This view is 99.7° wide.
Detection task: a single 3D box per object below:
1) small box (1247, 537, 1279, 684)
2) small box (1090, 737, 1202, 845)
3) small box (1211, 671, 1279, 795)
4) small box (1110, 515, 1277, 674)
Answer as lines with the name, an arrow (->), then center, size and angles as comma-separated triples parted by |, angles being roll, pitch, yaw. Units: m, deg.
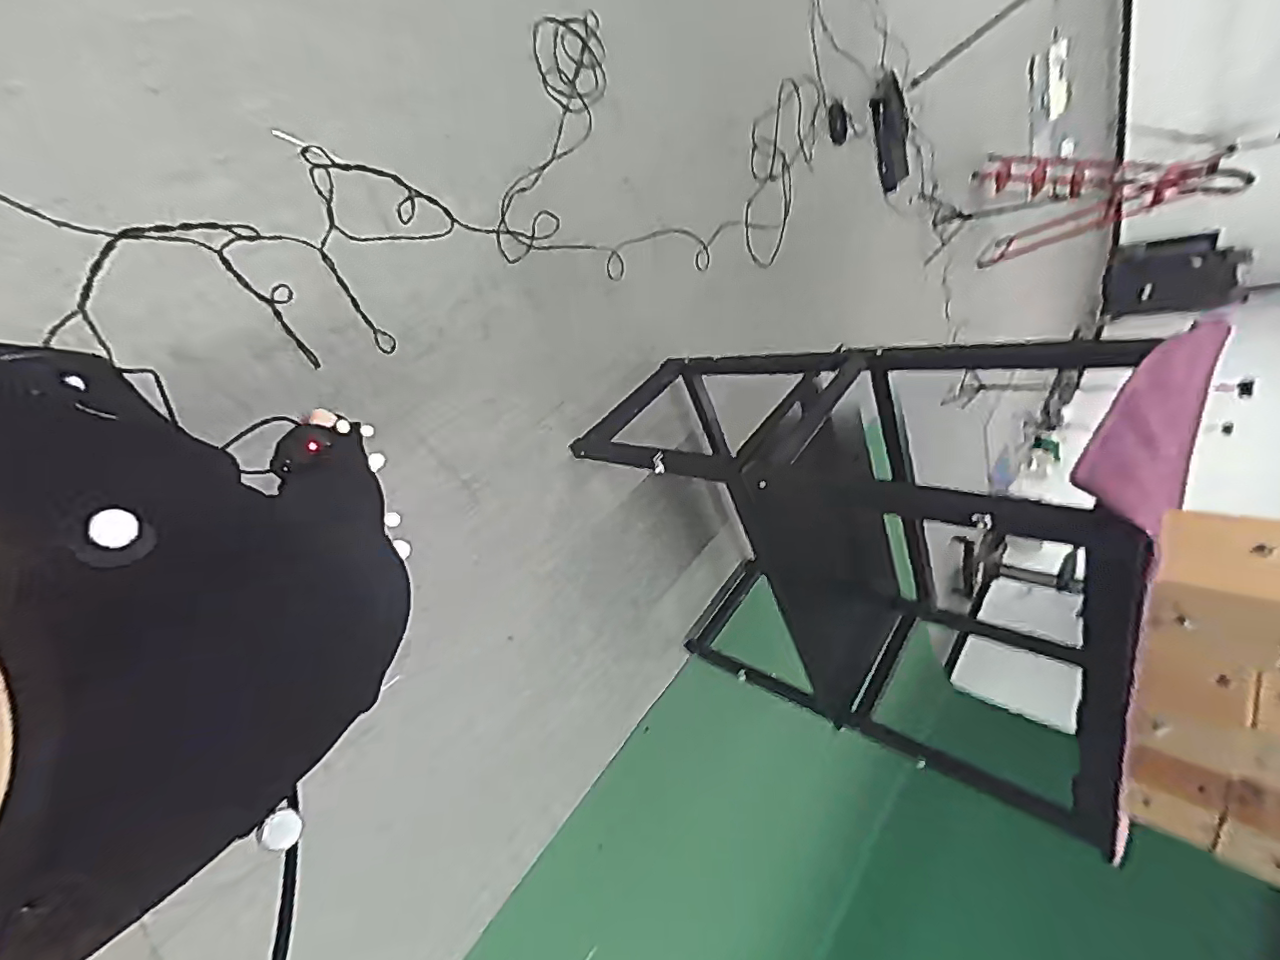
small box -> 1.031, 0.205, 0.792 | 0.179, 0.176, 0.168 | -44, 125, -29
small box -> 1.206, 0.707, 1.290 | 0.179, 0.176, 0.168 | -43, 124, -28
small box -> 1.191, 0.471, 0.998 | 0.179, 0.176, 0.168 | -44, 125, -27
small box -> 0.918, 0.181, 0.906 | 0.179, 0.176, 0.168 | -46, 126, -28
